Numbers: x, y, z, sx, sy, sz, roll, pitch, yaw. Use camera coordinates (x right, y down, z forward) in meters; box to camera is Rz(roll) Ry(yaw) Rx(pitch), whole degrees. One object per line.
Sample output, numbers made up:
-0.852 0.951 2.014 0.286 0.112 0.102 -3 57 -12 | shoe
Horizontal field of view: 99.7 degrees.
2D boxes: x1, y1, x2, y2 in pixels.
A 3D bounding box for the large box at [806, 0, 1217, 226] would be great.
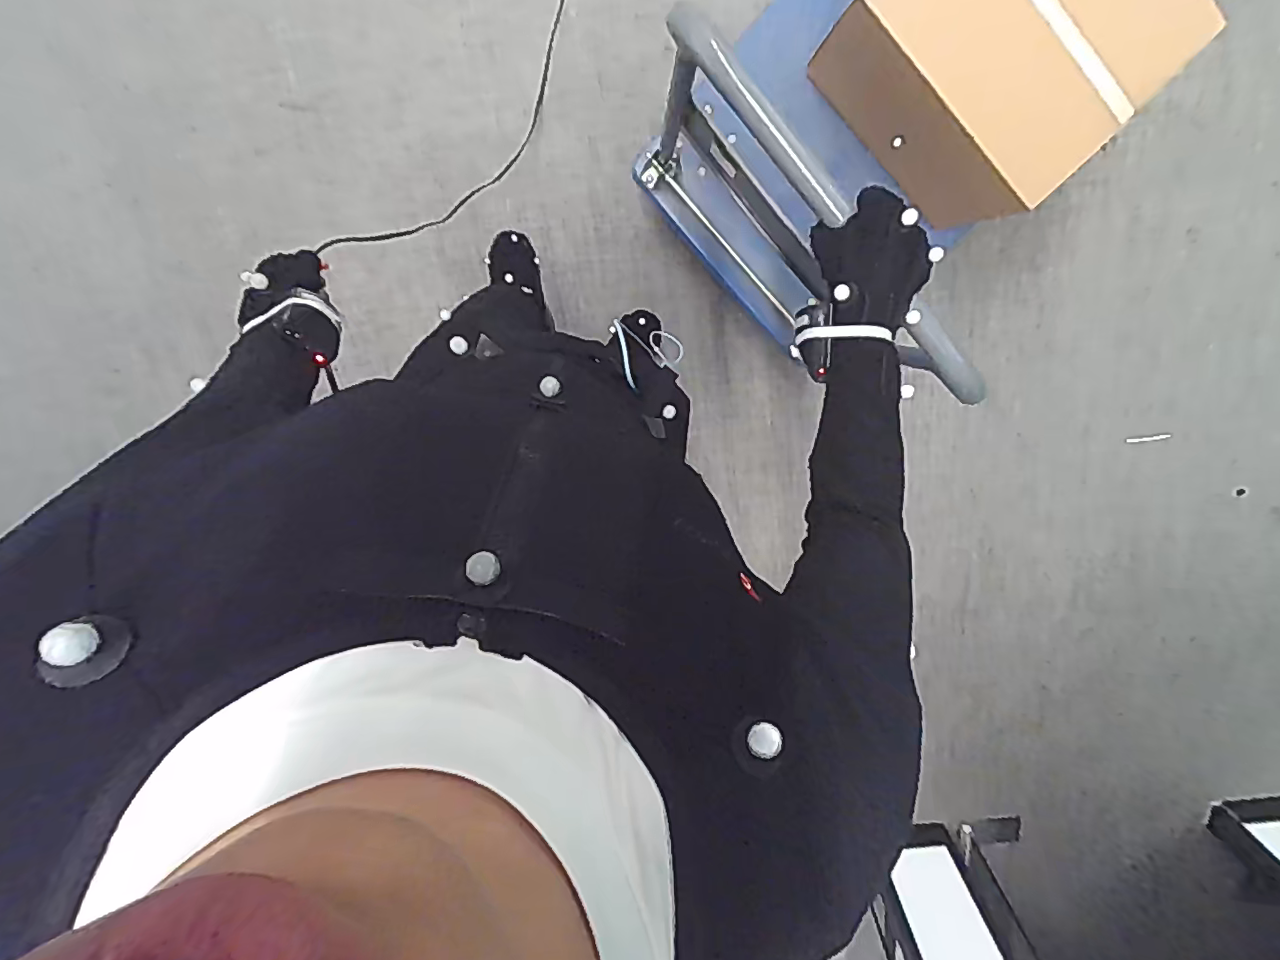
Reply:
0.550 -0.688 0.881 0.408 0.320 0.320 40 106 -12 | large box
